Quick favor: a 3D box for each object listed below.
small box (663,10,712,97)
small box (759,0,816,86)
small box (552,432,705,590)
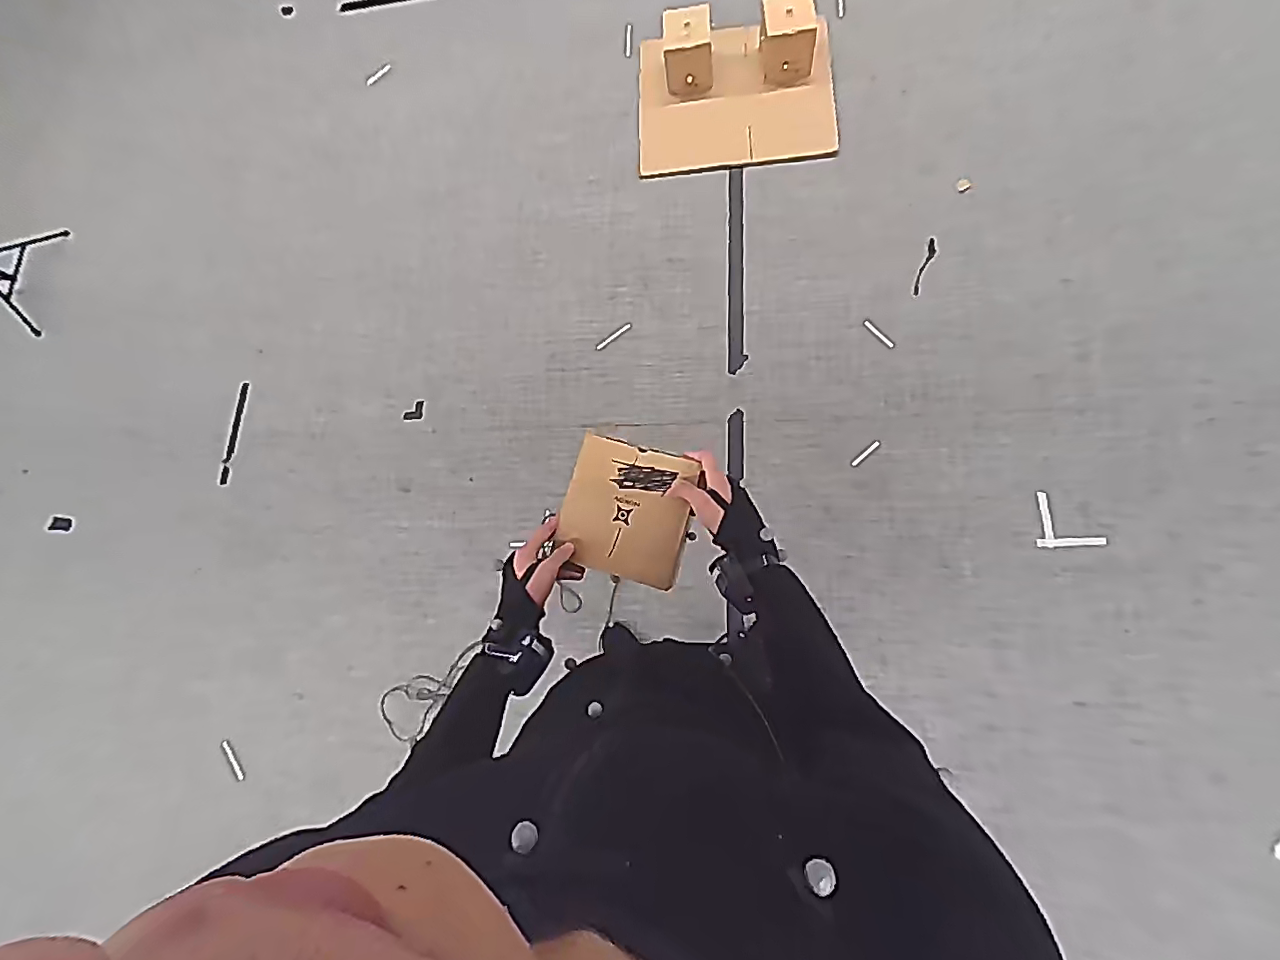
[{"bbox_3d":[0.174,-1.537,1.955,0.168,0.176,0.179,-3,77,10],"label":"small box"},{"bbox_3d":[0.514,-1.544,1.906,0.168,0.176,0.179,-6,76,8],"label":"small box"},{"bbox_3d":[-0.008,0.049,0.785,0.168,0.176,0.179,15,83,9],"label":"small box"}]
